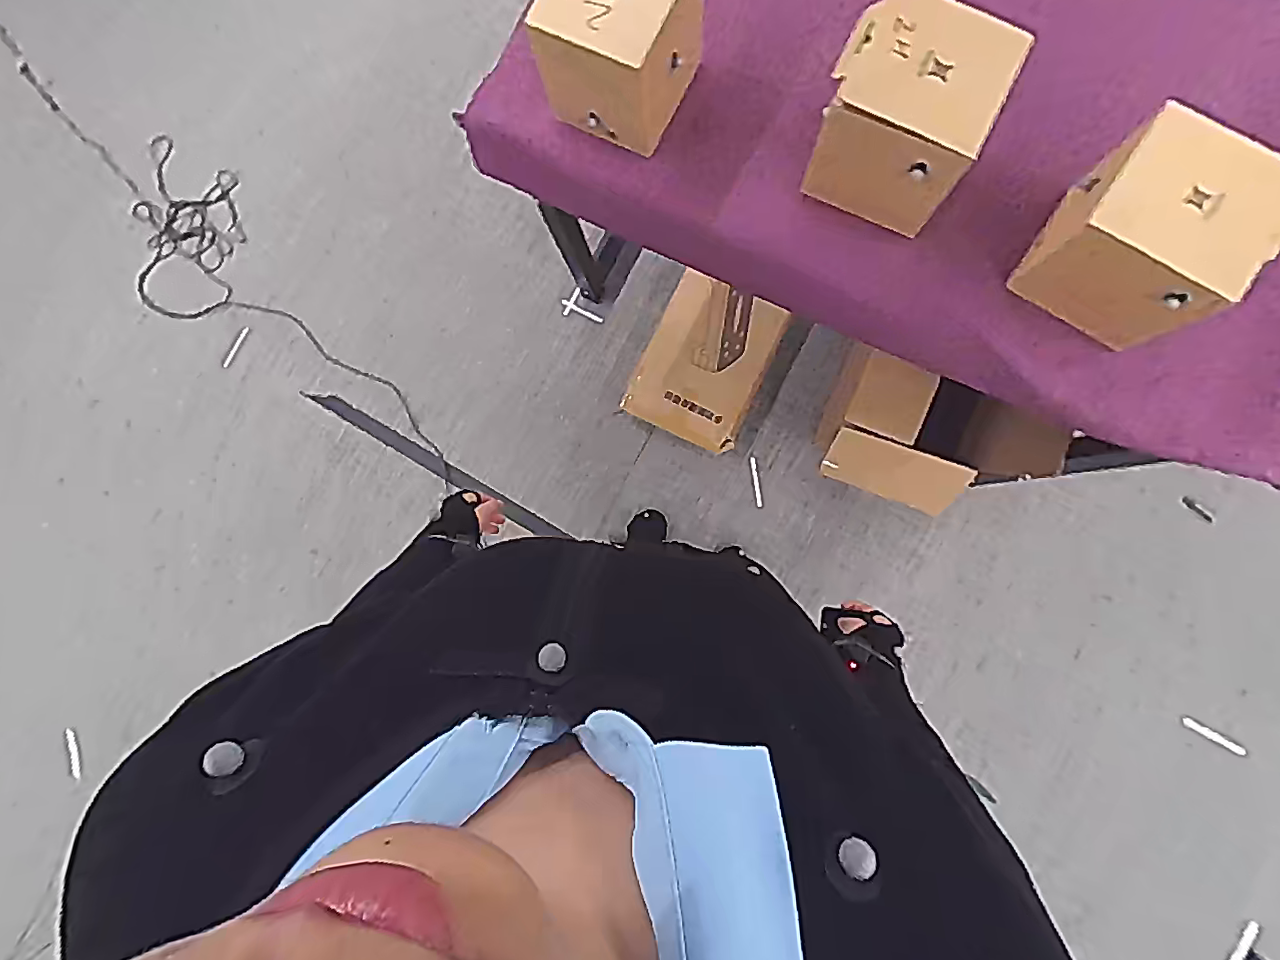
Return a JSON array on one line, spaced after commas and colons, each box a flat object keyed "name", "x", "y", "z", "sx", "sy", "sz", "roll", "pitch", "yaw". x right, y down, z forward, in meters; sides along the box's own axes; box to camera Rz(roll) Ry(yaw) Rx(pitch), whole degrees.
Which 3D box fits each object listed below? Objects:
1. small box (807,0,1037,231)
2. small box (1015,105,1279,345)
[{"name": "small box", "x": 0.343, "y": -0.455, "z": 0.694, "sx": 0.179, "sy": 0.176, "sz": 0.168, "roll": 27, "pitch": 86, "yaw": 7}, {"name": "small box", "x": 0.613, "y": -0.291, "z": 0.657, "sx": 0.179, "sy": 0.176, "sz": 0.168, "roll": 34, "pitch": 90, "yaw": 7}]
